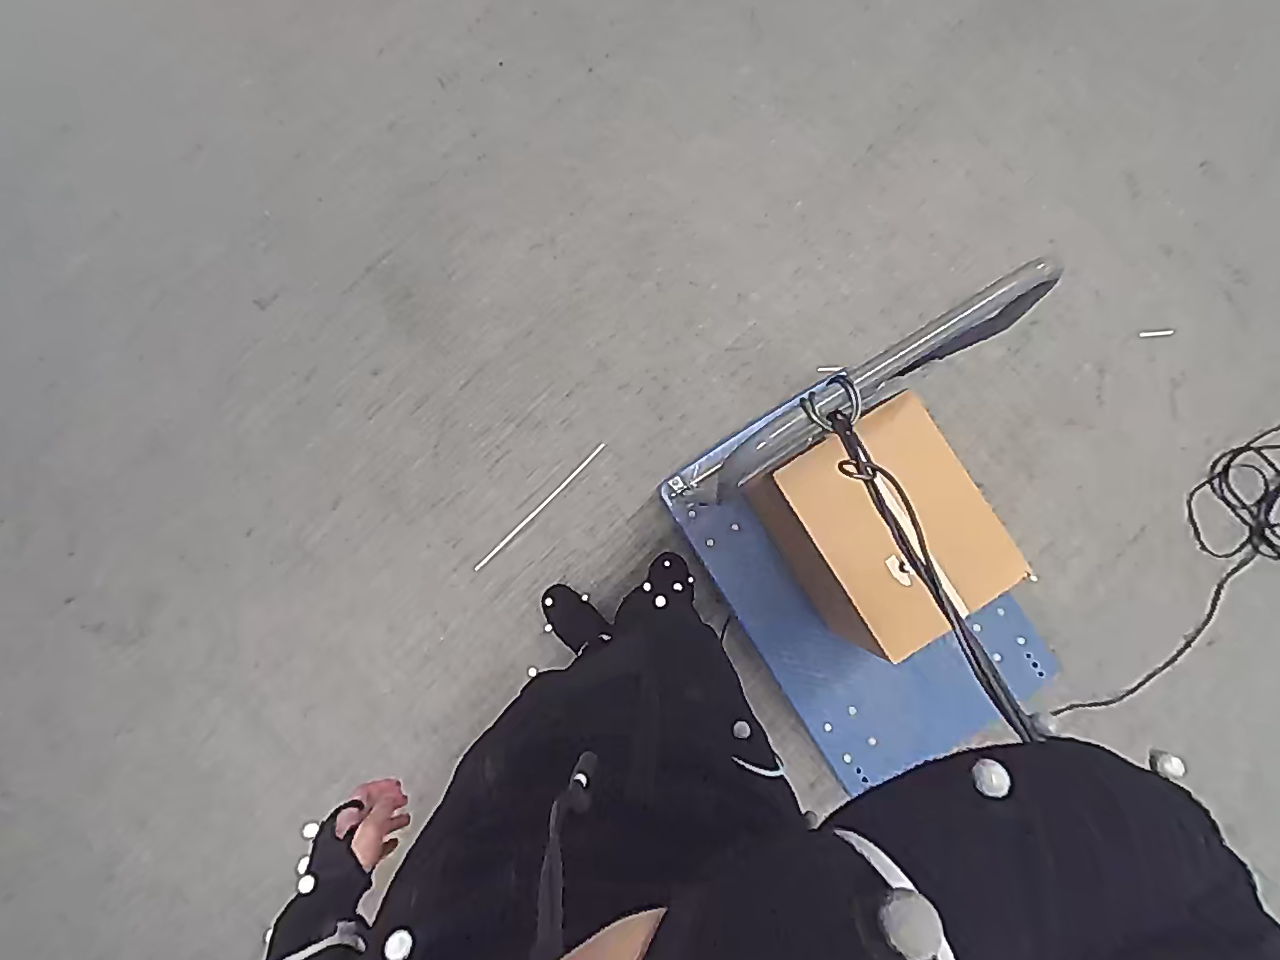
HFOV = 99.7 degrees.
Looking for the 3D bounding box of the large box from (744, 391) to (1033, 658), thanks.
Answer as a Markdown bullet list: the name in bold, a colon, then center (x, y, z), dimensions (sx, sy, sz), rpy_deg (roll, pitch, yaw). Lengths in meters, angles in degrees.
- **large box**: center (0.479, 0.089, 1.134), dimensions (0.320, 0.320, 0.408), rpy_deg (-32, 86, -3)
